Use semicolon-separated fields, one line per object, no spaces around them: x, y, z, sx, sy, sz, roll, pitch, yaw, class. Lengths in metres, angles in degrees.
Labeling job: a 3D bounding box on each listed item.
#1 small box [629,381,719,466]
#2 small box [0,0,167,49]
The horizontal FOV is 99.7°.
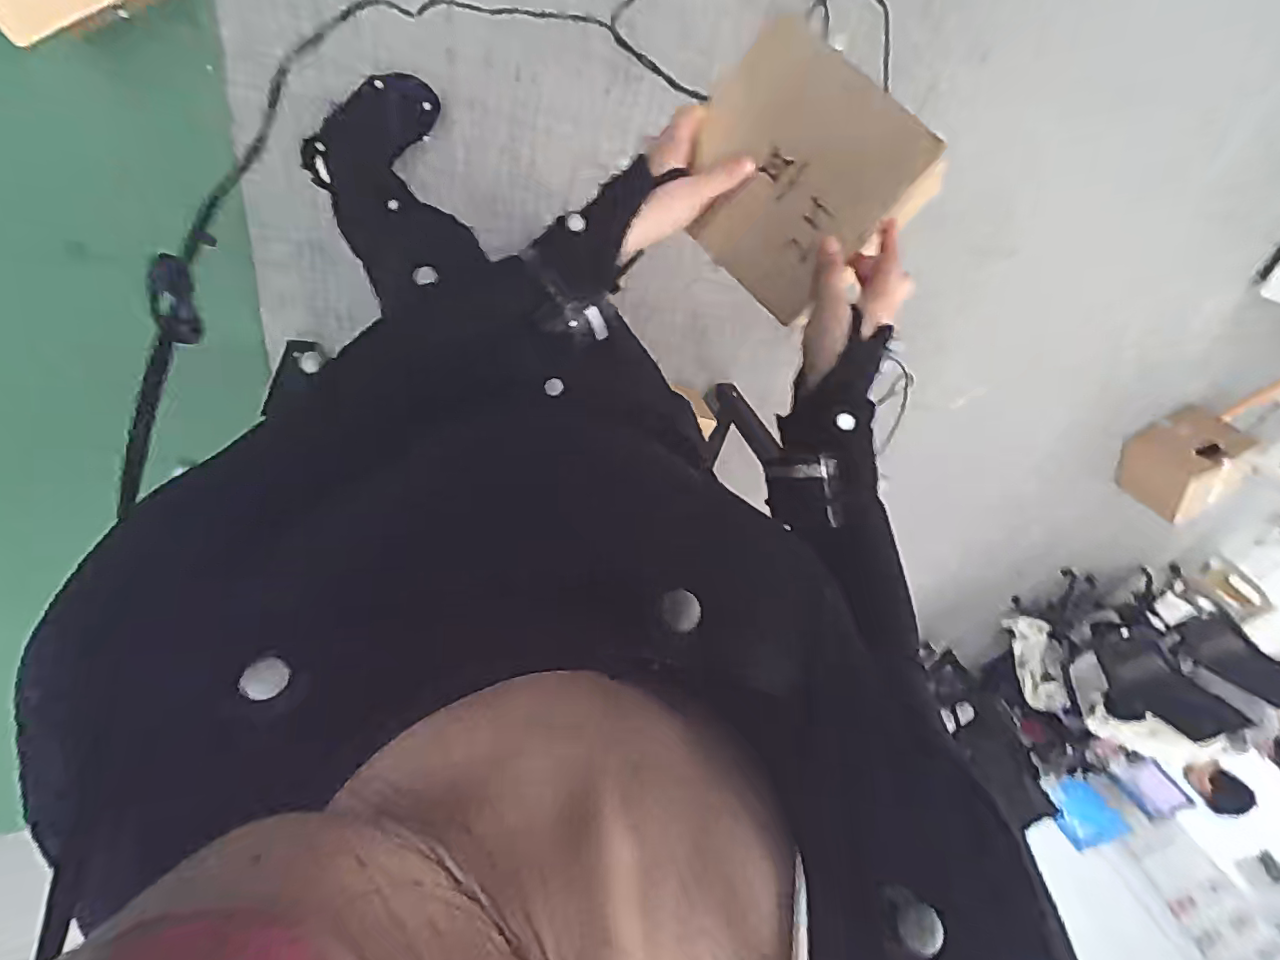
0.093;-0.168;1.580;0.179;0.176;0.168;11;125;-31;small box
-0.798;-0.716;0.728;0.179;0.176;0.168;-26;135;1;small box
